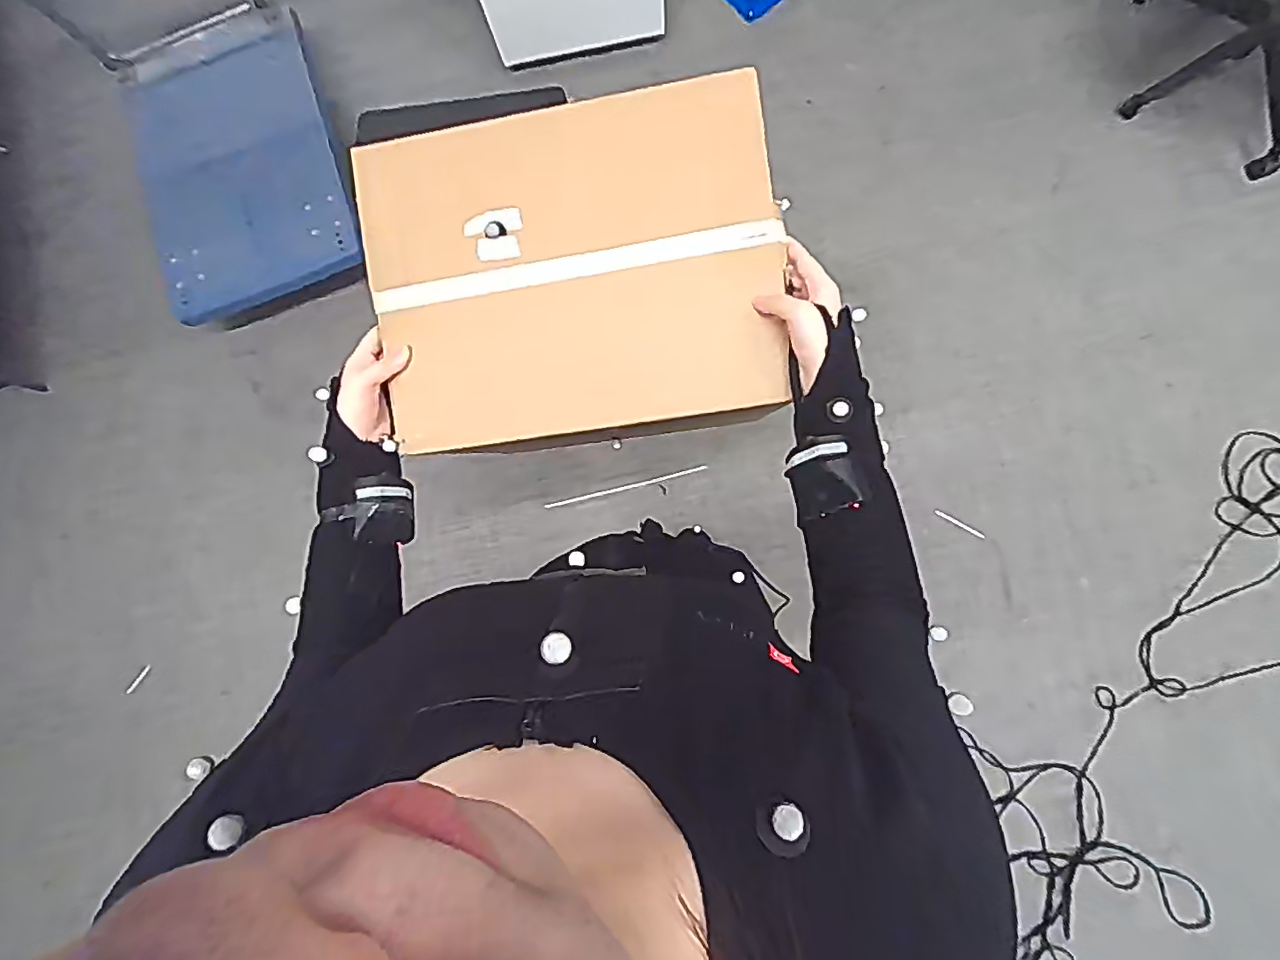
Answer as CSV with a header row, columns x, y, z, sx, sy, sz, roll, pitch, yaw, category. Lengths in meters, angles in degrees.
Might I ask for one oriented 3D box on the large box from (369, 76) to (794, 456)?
x,y,z,sx,sy,sz,roll,pitch,yaw,category
-0.047,-0.215,0.690,0.408,0.320,0.320,-8,92,7,large box
